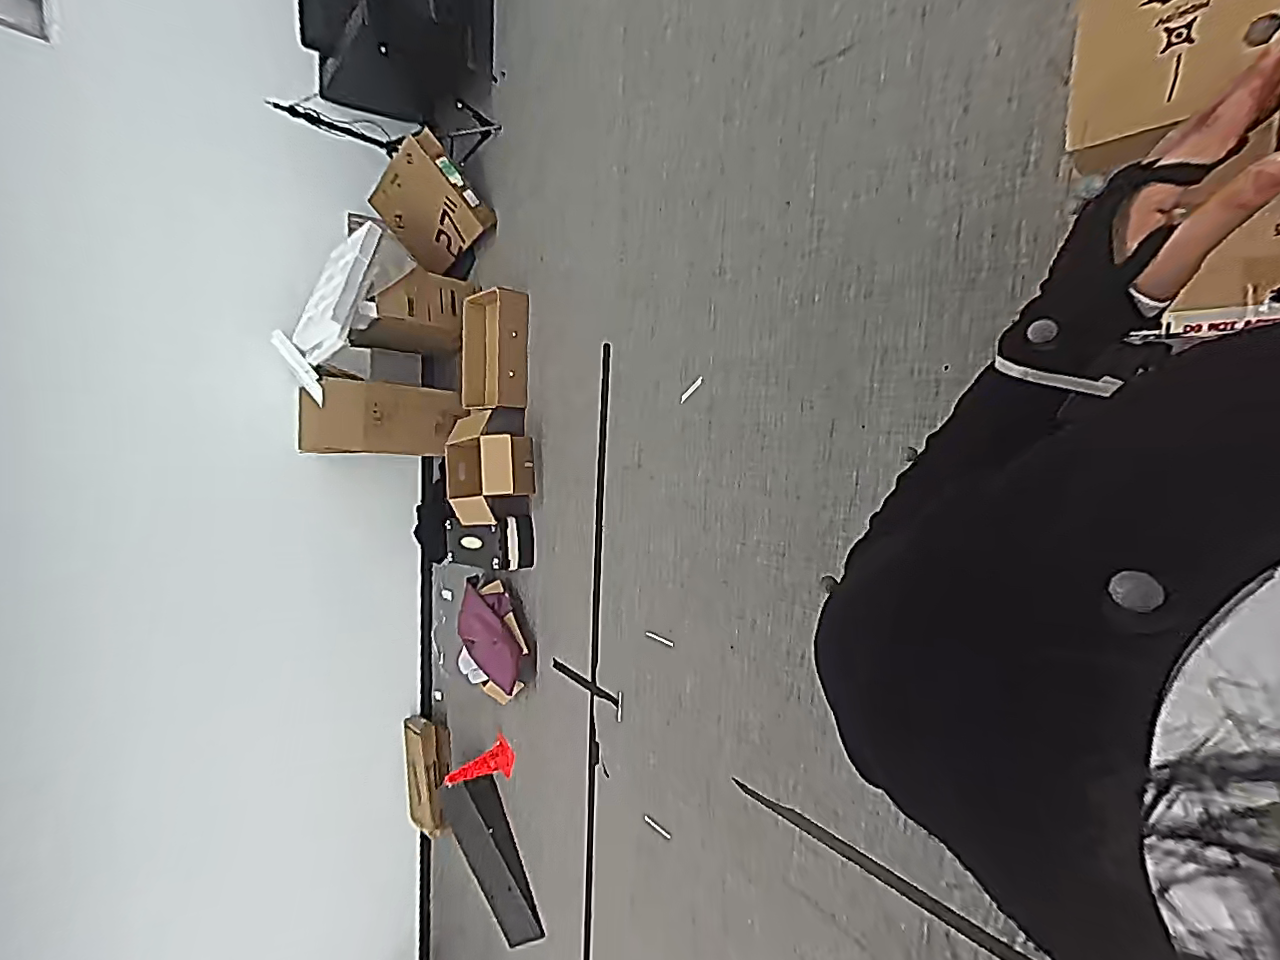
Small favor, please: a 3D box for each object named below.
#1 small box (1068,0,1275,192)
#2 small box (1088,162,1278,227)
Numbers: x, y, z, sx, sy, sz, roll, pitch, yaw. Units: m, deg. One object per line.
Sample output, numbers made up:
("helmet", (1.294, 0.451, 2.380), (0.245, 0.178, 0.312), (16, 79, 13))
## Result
("small box", (0.568, -0.429, 0.553), (0.168, 0.176, 0.179), (9, 101, 49))
("small box", (0.683, -0.444, 0.672), (0.168, 0.176, 0.179), (4, 97, 50))
